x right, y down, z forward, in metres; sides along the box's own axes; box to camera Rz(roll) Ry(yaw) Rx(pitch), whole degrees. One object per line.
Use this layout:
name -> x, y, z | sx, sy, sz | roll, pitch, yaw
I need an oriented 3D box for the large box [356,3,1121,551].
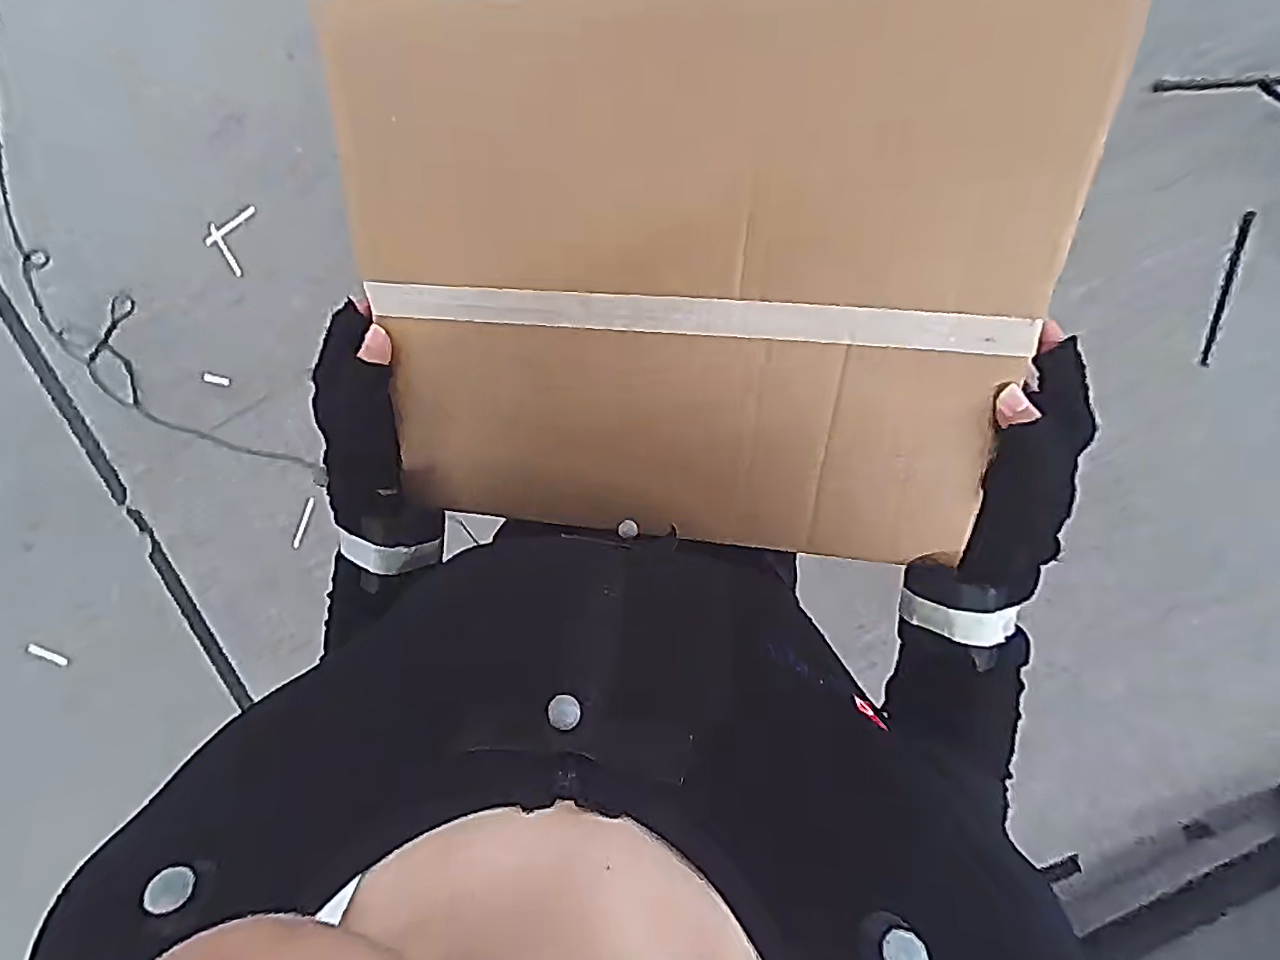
large box -> 0.050, -0.167, 0.476 | 0.408, 0.320, 0.320 | 6, 117, 7
